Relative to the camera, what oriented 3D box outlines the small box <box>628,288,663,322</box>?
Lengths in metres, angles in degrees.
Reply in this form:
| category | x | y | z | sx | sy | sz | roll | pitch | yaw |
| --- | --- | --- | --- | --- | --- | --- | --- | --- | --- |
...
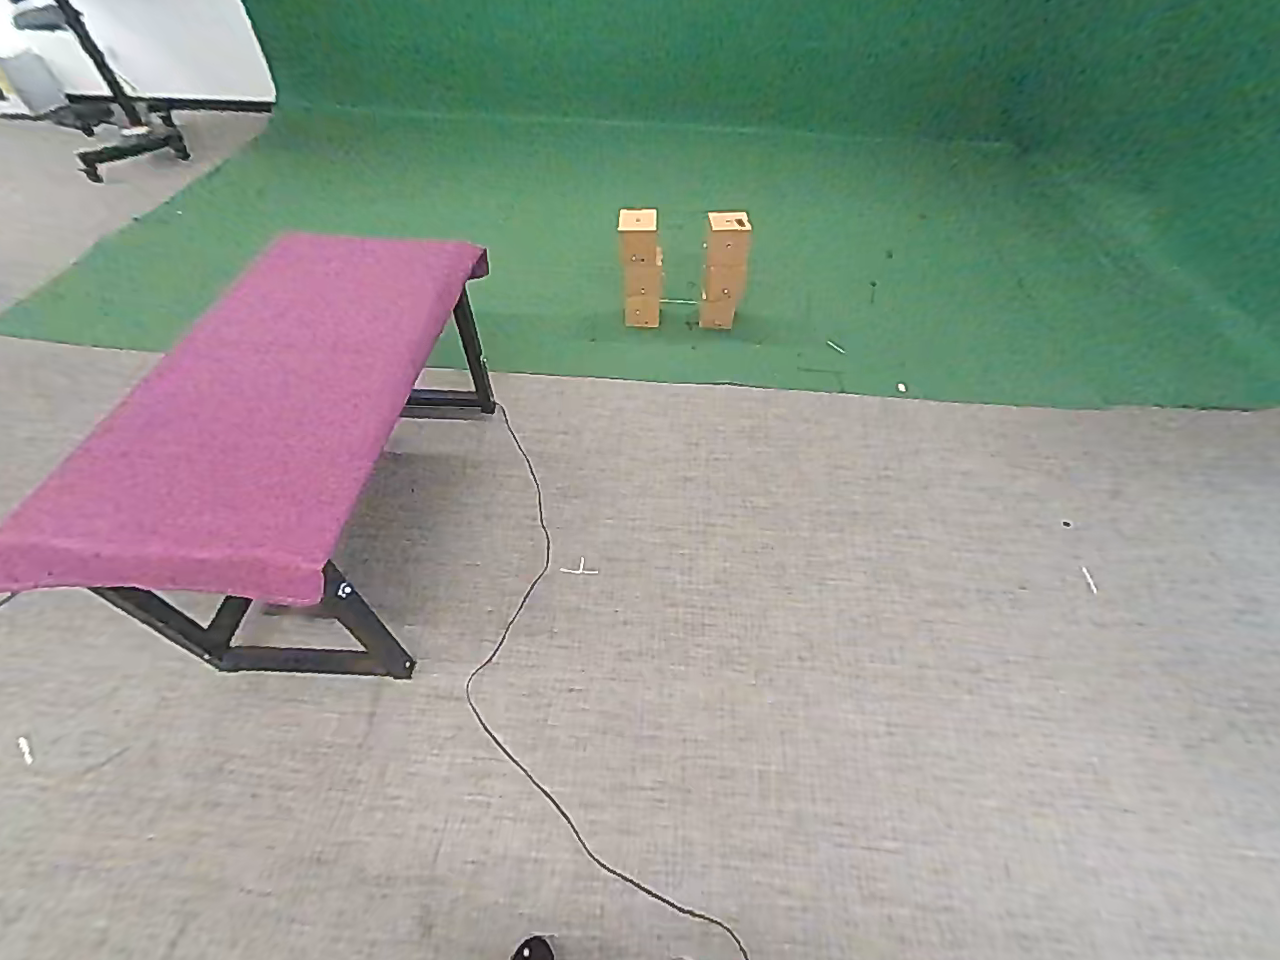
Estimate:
| category | x | y | z | sx | sy | sz | roll | pitch | yaw |
| --- | --- | --- | --- | --- | --- | --- | --- | --- | --- |
| small box | 0.028 | -0.904 | 2.695 | 0.168 | 0.176 | 0.179 | 2 | 51 | 2 |

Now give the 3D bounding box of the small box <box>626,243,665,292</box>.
| category | x | y | z | sx | sy | sz | roll | pitch | yaw |
| --- | --- | --- | --- | --- | --- | --- | --- | --- | --- |
| small box | 0.023 | -1.008 | 2.569 | 0.179 | 0.176 | 0.168 | 0 | 51 | 0 |

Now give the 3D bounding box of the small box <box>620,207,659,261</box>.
| category | x | y | z | sx | sy | sz | roll | pitch | yaw |
| --- | --- | --- | --- | --- | --- | --- | --- | --- | --- |
| small box | 0.000 | -1.113 | 2.443 | 0.168 | 0.176 | 0.179 | 0 | 51 | 3 |

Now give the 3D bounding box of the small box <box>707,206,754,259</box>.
| category | x | y | z | sx | sy | sz | roll | pitch | yaw |
| --- | --- | --- | --- | --- | --- | --- | --- | --- | --- |
| small box | 0.403 | -1.117 | 2.443 | 0.179 | 0.176 | 0.168 | -2 | 51 | -1 |

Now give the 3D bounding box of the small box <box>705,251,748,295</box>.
| category | x | y | z | sx | sy | sz | roll | pitch | yaw |
| --- | --- | --- | --- | --- | --- | --- | --- | --- | --- |
| small box | 0.405 | -1.000 | 2.561 | 0.168 | 0.176 | 0.179 | -4 | 52 | -3 |
